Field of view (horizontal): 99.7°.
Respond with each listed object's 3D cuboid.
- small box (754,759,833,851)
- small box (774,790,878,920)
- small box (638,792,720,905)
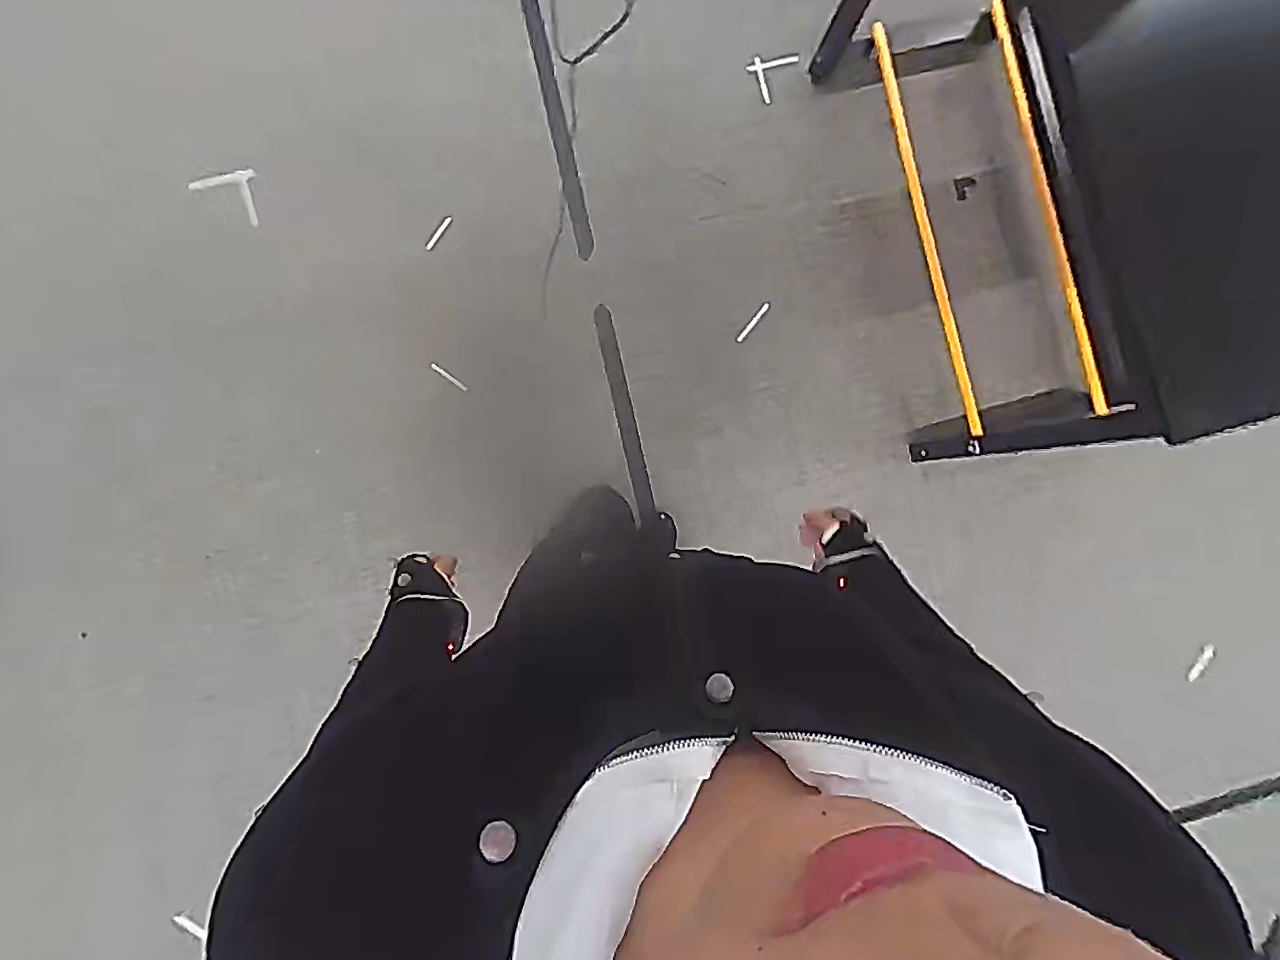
[{"bbox_3d":[0.420,0.872,1.438,0.168,0.176,0.179,-15,89,-4],"label":"small box"},{"bbox_3d":[0.430,0.872,1.273,0.168,0.176,0.179,-9,89,-5],"label":"small box"},{"bbox_3d":[0.096,0.955,1.417,0.179,0.176,0.168,-11,89,-3],"label":"small box"}]
